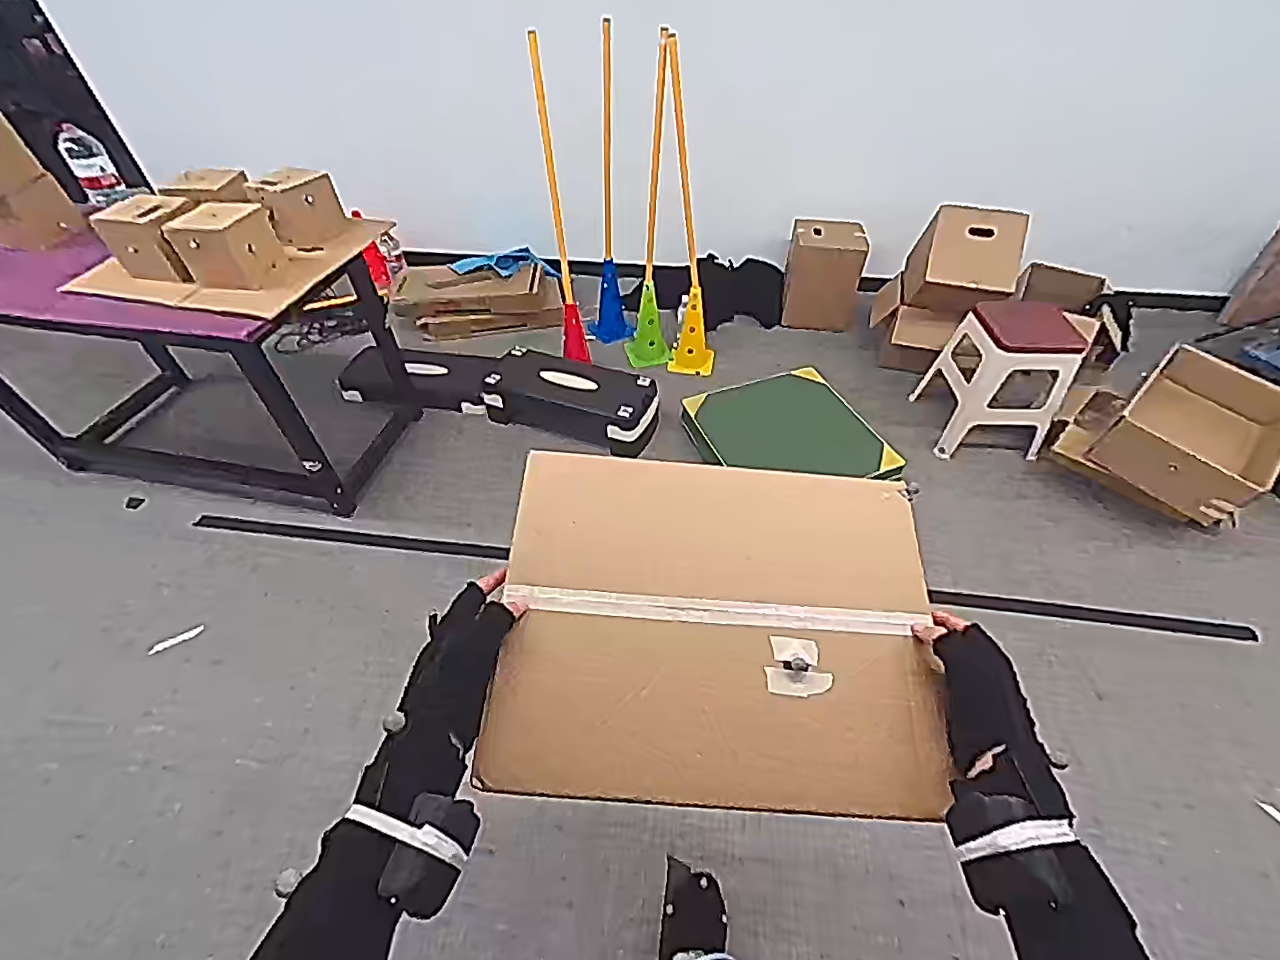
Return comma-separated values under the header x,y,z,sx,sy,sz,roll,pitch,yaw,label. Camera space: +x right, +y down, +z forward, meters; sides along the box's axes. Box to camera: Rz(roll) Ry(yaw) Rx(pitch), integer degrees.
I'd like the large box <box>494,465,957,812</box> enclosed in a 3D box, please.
x,y,z,sx,sy,sz,roll,pitch,yaw,label
0.071,0.202,0.652,0.408,0.320,0.320,5,63,-2,large box
